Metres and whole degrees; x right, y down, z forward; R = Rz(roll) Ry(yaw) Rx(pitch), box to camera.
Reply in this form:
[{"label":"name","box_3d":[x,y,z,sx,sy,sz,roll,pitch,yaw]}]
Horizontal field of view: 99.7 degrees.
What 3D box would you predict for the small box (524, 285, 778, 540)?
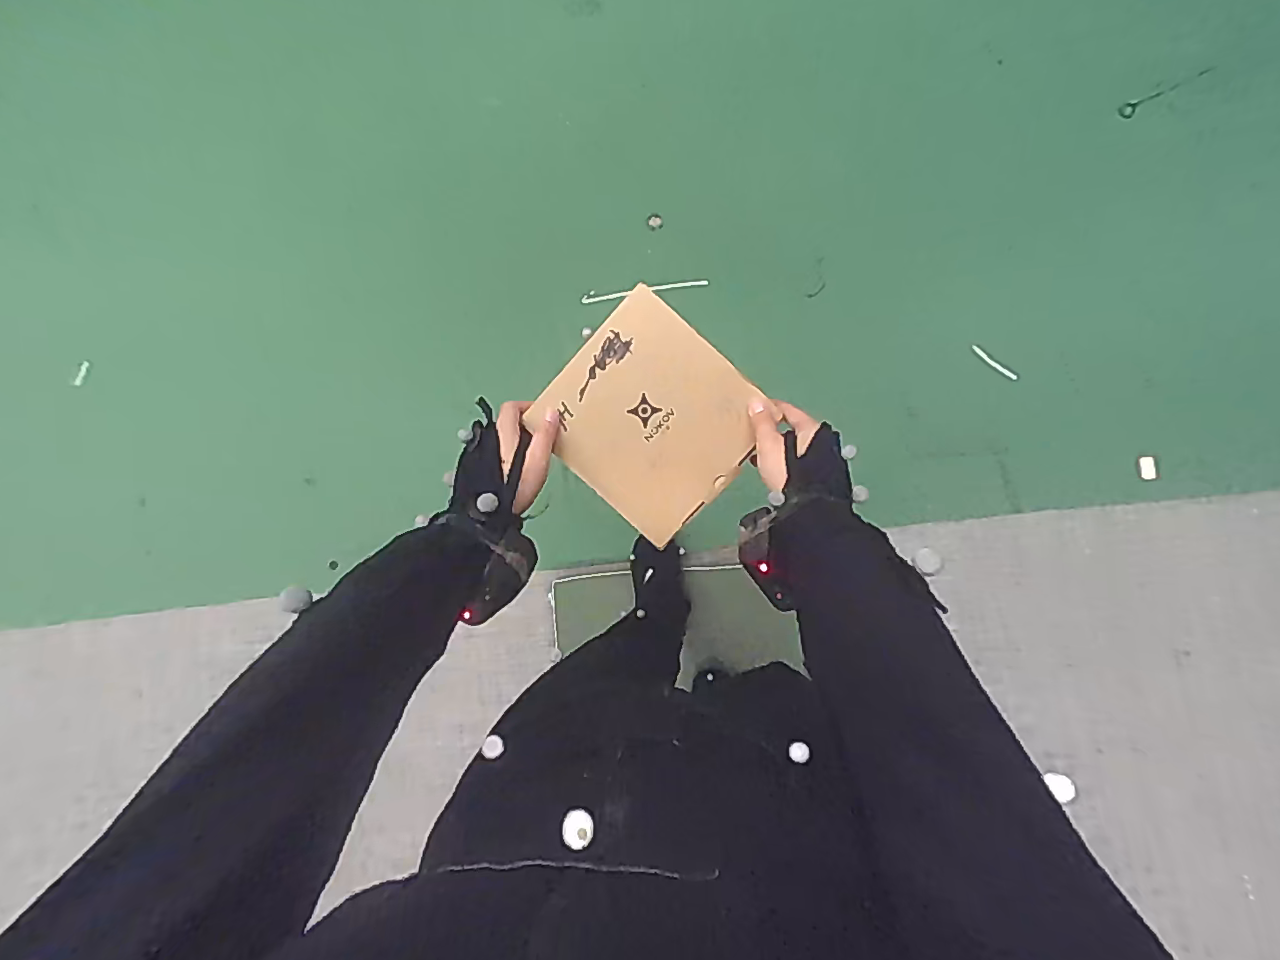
[{"label":"small box","box_3d":[0.012,-0.066,0.569,0.179,0.176,0.168,43,94,-2]}]
